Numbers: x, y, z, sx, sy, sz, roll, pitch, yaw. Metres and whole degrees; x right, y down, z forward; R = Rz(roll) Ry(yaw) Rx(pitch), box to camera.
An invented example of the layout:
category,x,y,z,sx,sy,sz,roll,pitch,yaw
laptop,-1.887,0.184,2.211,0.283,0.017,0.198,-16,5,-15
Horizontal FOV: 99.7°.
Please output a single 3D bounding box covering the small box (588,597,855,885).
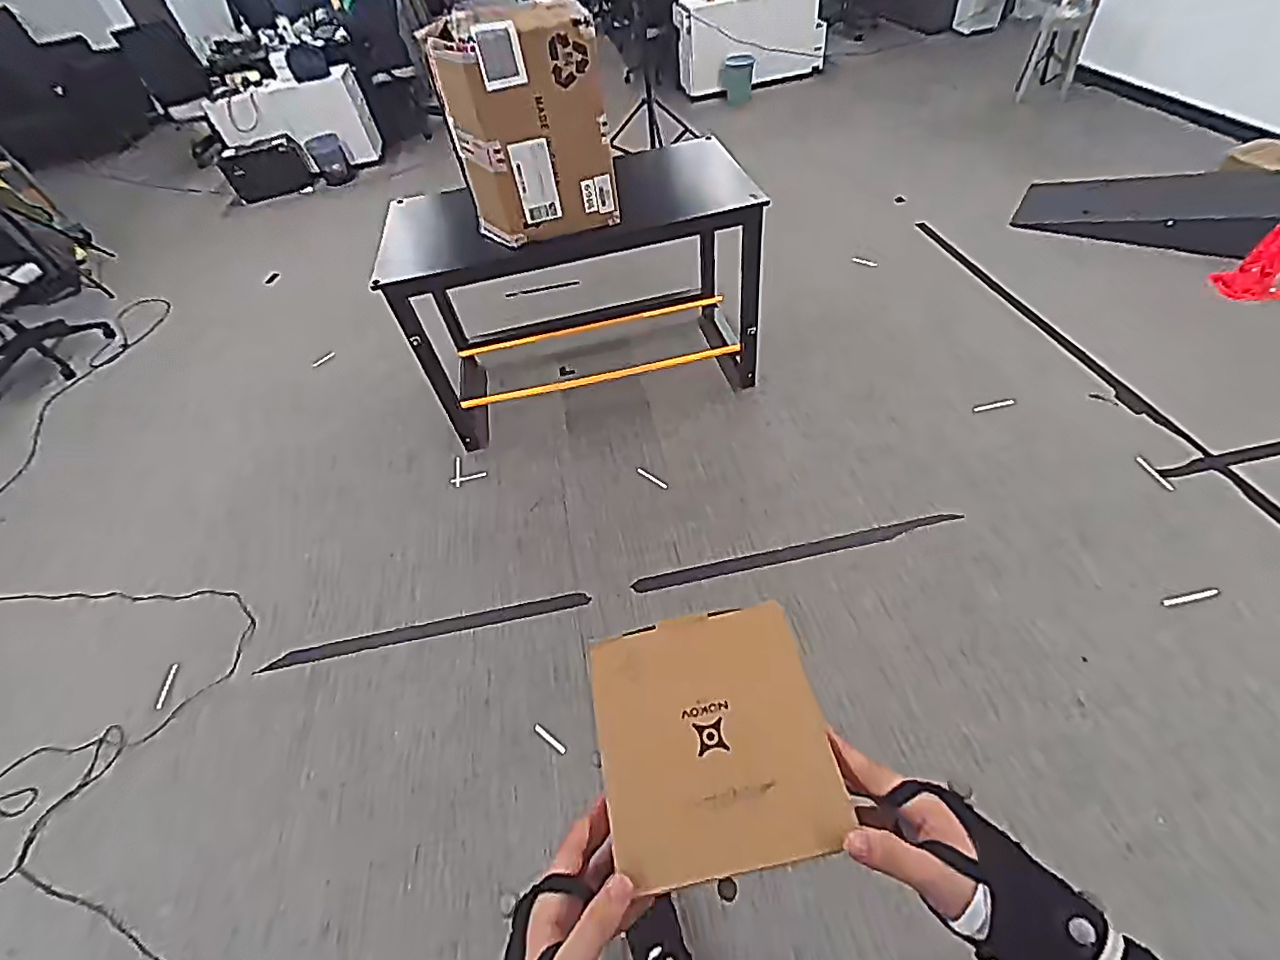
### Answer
category,x,y,z,sx,sy,sz,roll,pitch,yaw
small box,0.058,0.227,0.468,0.168,0.176,0.179,-13,55,0
